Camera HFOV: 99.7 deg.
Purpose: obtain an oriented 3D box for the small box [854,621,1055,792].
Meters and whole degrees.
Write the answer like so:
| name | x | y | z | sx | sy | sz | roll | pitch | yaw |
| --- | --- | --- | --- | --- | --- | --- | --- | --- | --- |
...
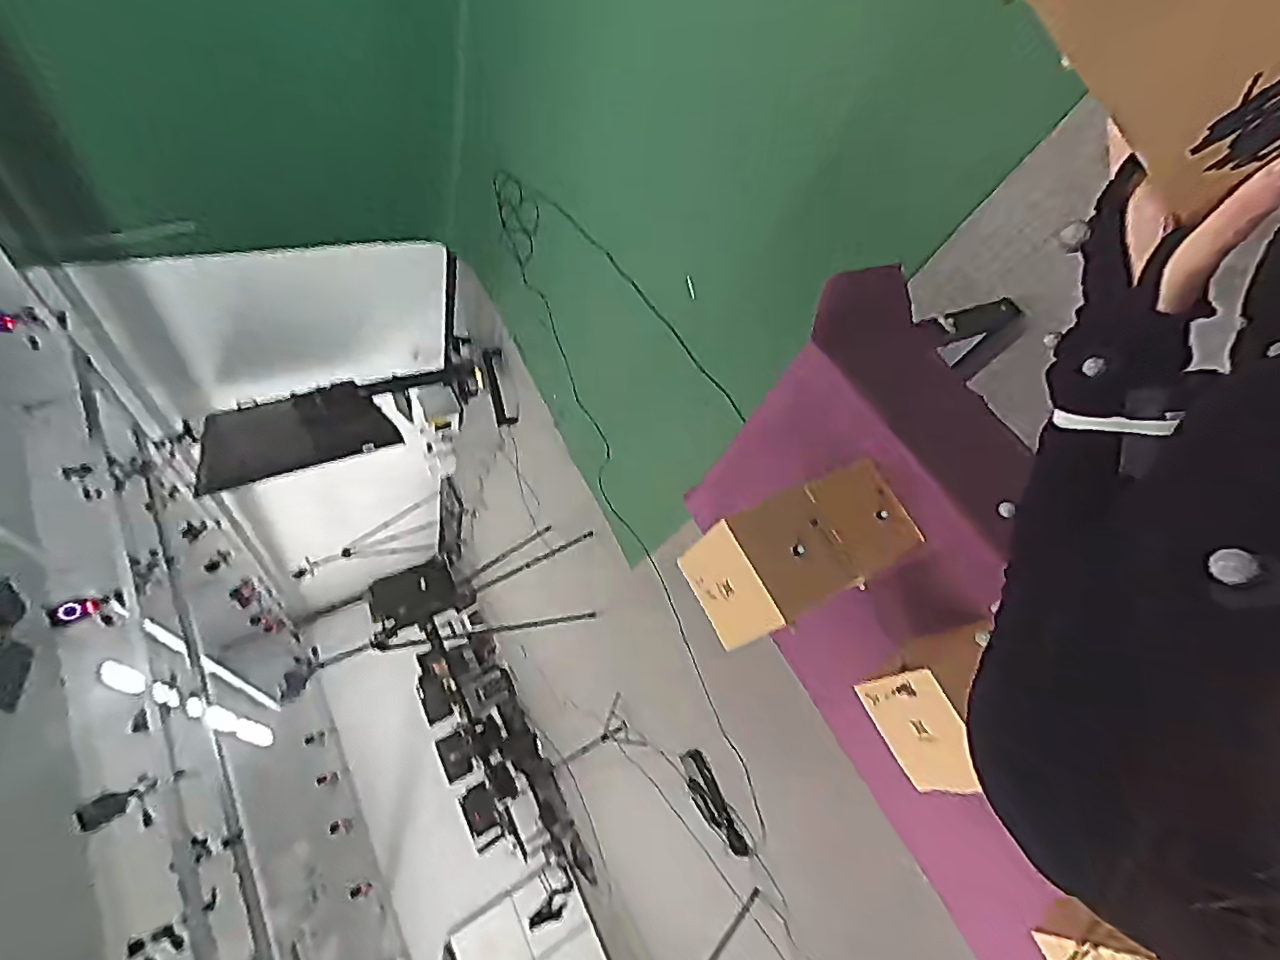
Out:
| name | x | y | z | sx | sy | sz | roll | pitch | yaw |
| --- | --- | --- | --- | --- | --- | --- | --- | --- | --- |
| small box | 0.480 | 0.345 | 0.831 | 0.179 | 0.176 | 0.168 | 60 | 148 | 16 |

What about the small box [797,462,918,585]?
| name | x | y | z | sx | sy | sz | roll | pitch | yaw |
| --- | --- | --- | --- | --- | --- | --- | --- | --- | --- |
| small box | 0.332 | 0.092 | 0.935 | 0.168 | 0.176 | 0.179 | 61 | 148 | 16 |

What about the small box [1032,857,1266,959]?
| name | x | y | z | sx | sy | sz | roll | pitch | yaw |
| --- | --- | --- | --- | --- | --- | --- | --- | --- | --- |
| small box | 0.665 | 0.626 | 0.685 | 0.179 | 0.176 | 0.168 | 61 | 149 | 18 |

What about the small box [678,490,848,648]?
| name | x | y | z | sx | sy | sz | roll | pitch | yaw |
| --- | --- | --- | --- | --- | --- | --- | --- | --- | --- |
| small box | 0.196 | 0.138 | 0.852 | 0.168 | 0.176 | 0.179 | 61 | 148 | 17 |
